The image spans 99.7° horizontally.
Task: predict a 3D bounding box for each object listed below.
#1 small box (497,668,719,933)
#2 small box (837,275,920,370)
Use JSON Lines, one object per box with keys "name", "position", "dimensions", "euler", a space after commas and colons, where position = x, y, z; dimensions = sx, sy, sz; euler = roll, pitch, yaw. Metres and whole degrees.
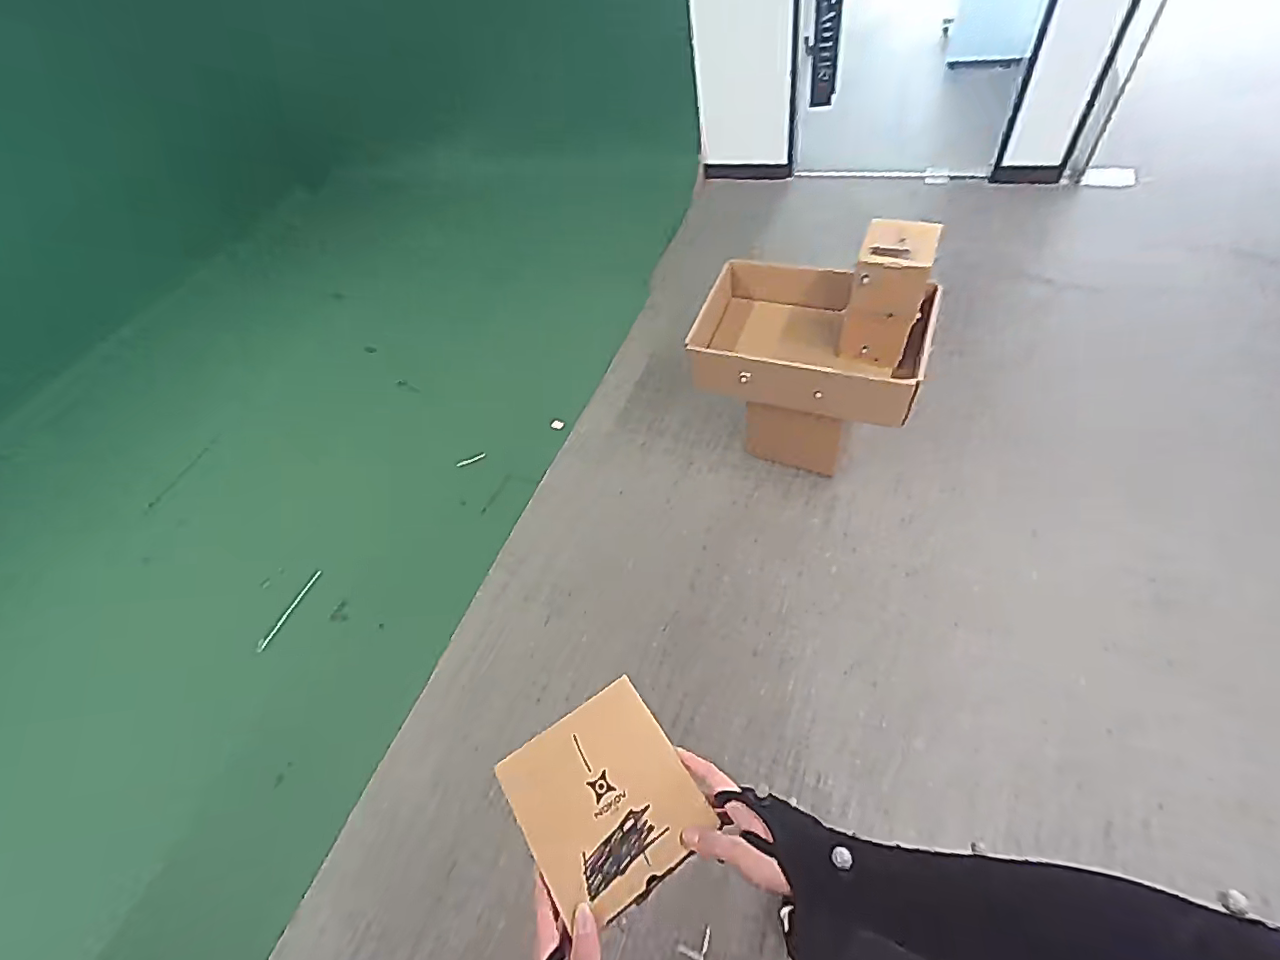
{"name": "small box", "position": [-0.031, 0.348, 0.603], "dimensions": [0.168, 0.176, 0.179], "euler": [-29, 58, -17]}
{"name": "small box", "position": [0.660, -0.439, 1.509], "dimensions": [0.168, 0.176, 0.179], "euler": [16, 62, 21]}
